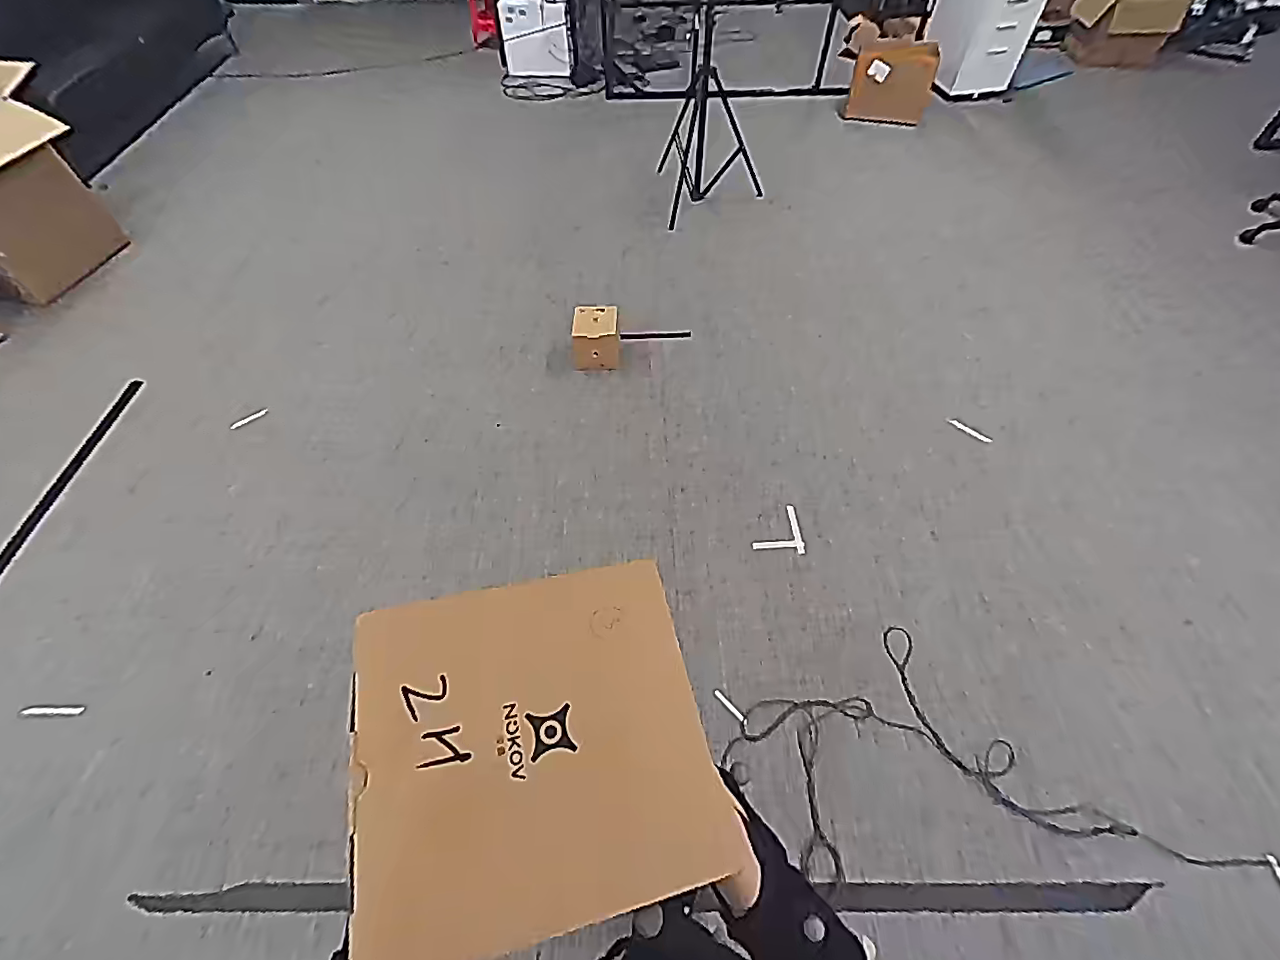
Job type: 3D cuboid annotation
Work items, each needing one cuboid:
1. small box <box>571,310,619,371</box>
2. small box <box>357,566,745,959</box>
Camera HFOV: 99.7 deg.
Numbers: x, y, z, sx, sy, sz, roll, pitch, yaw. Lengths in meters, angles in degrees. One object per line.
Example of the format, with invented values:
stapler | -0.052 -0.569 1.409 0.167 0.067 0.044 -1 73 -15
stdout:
small box | -0.169 -0.541 2.106 0.168 0.176 0.179 0 55 1
small box | -0.060 0.174 0.345 0.179 0.176 0.168 -9 59 -13
